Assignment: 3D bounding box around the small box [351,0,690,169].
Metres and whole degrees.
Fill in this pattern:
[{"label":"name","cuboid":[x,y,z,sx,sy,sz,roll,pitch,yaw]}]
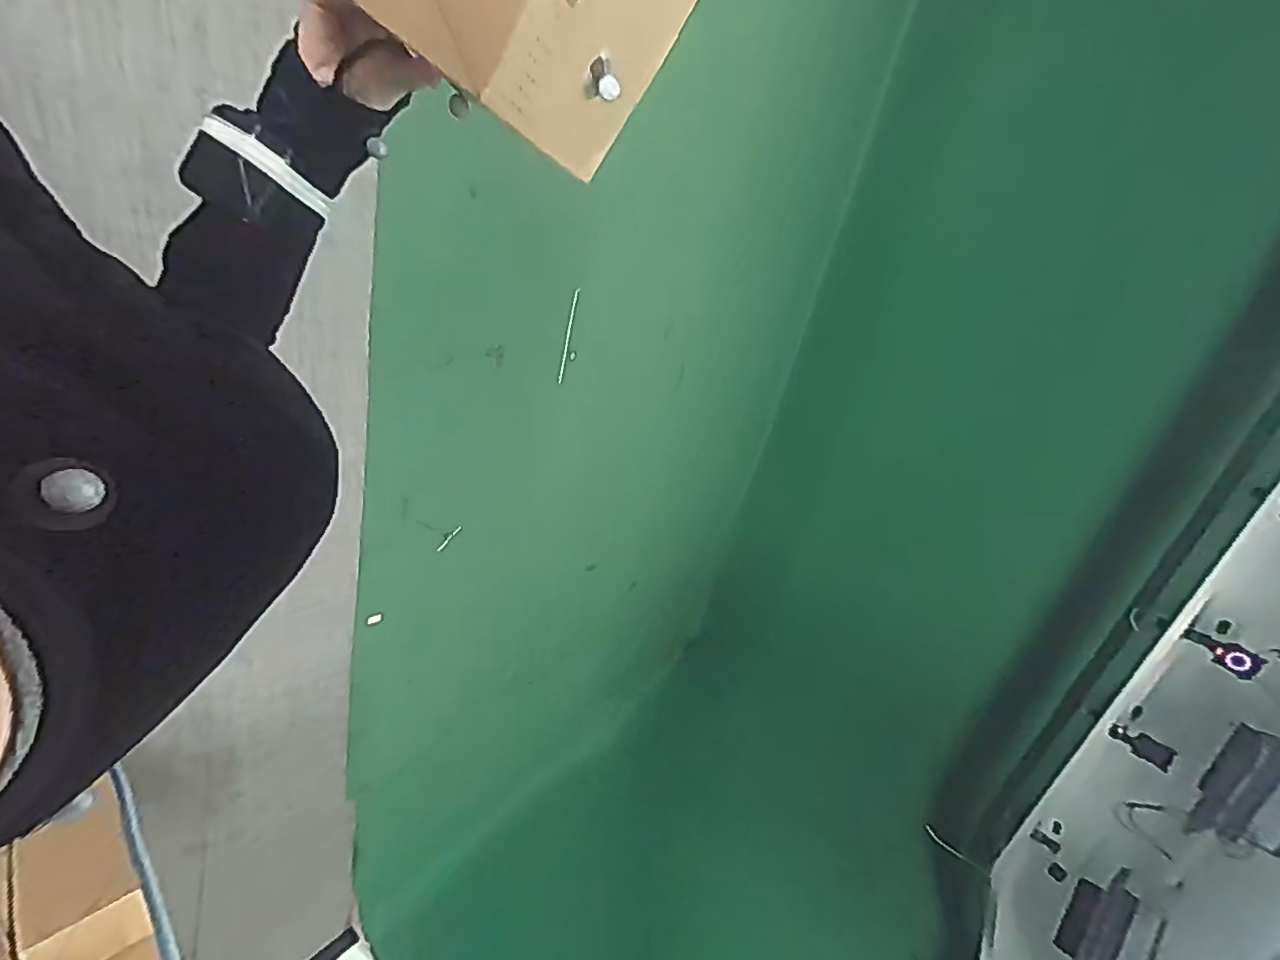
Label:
[{"label":"small box","cuboid":[-0.074,-0.297,0.267,0.168,0.179,0.176,-54,-179,20]}]
